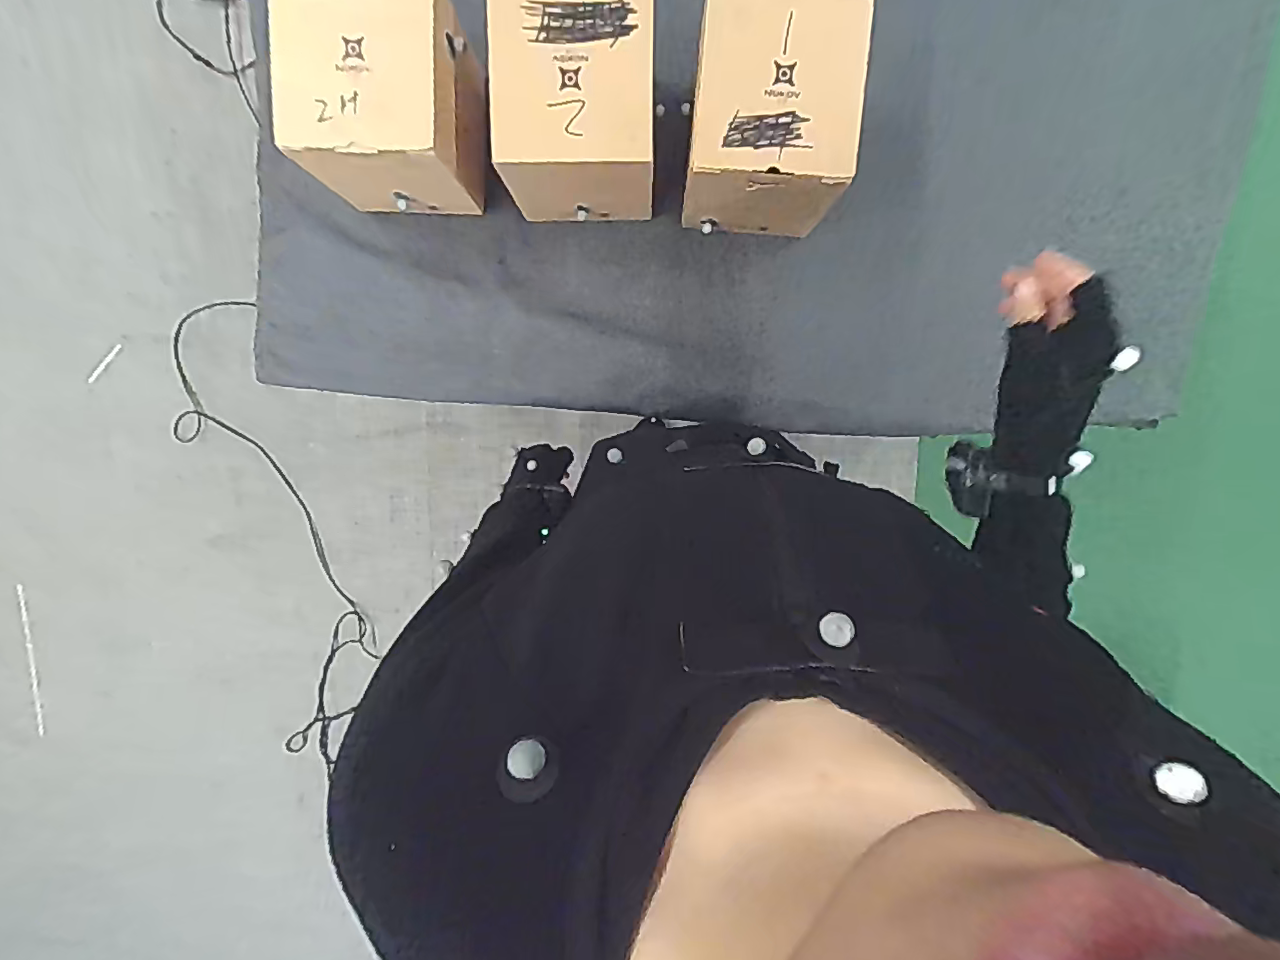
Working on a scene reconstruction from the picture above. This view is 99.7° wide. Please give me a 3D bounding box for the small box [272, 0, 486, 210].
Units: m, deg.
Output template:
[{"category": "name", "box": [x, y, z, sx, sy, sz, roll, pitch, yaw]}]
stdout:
[{"category": "small box", "box": [-0.282, -0.435, 0.616, 0.168, 0.176, 0.179, 2, 96, 1]}]
